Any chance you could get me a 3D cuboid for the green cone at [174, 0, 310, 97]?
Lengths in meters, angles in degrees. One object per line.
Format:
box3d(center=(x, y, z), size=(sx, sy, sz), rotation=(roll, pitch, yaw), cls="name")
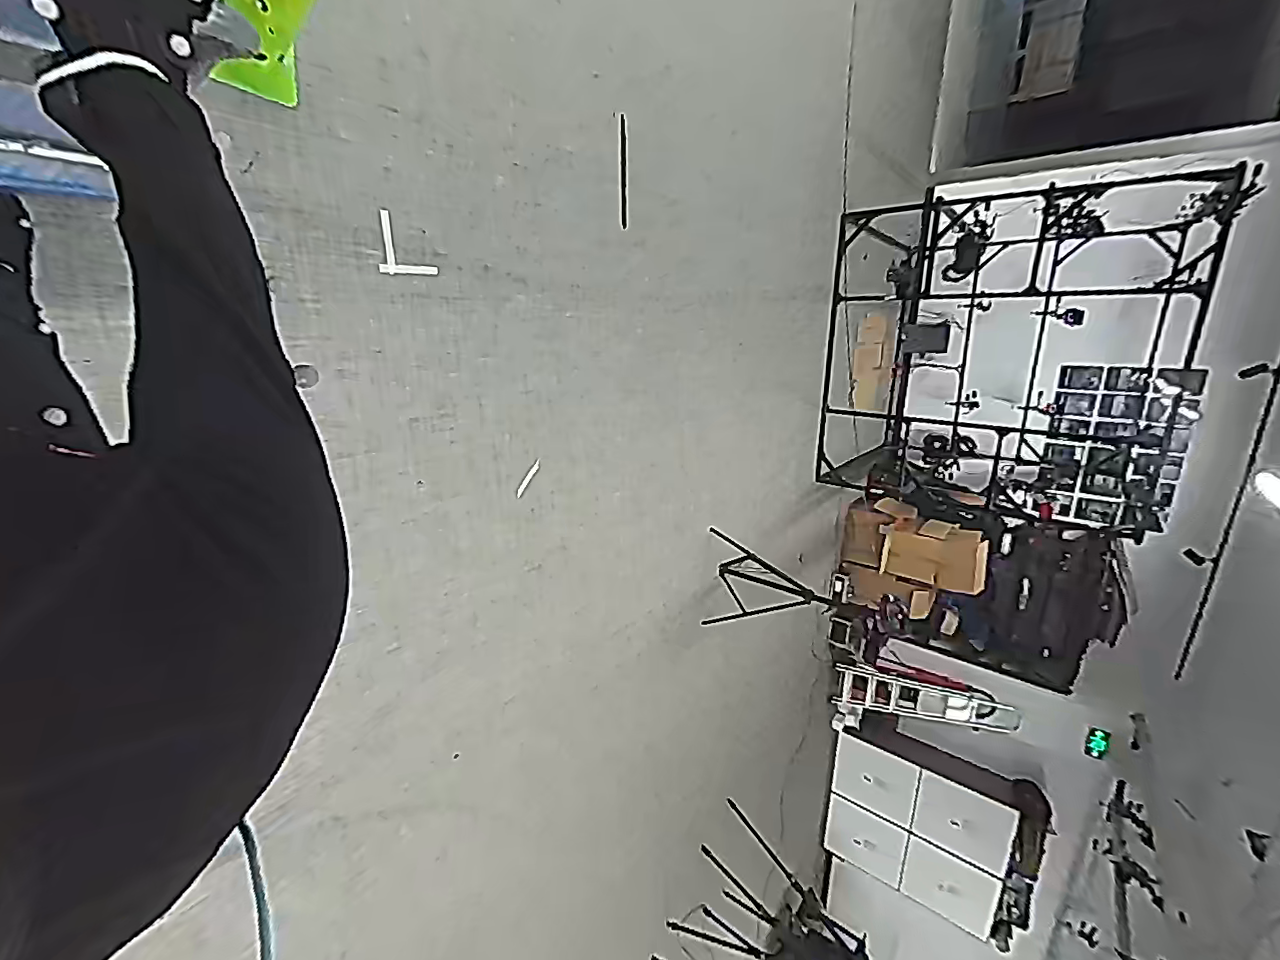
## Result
box3d(center=(-0.710, -0.916, 1.031), size=(0.202, 0.368, 0.200), rotation=(-13, 111, -52), cls="green cone")
